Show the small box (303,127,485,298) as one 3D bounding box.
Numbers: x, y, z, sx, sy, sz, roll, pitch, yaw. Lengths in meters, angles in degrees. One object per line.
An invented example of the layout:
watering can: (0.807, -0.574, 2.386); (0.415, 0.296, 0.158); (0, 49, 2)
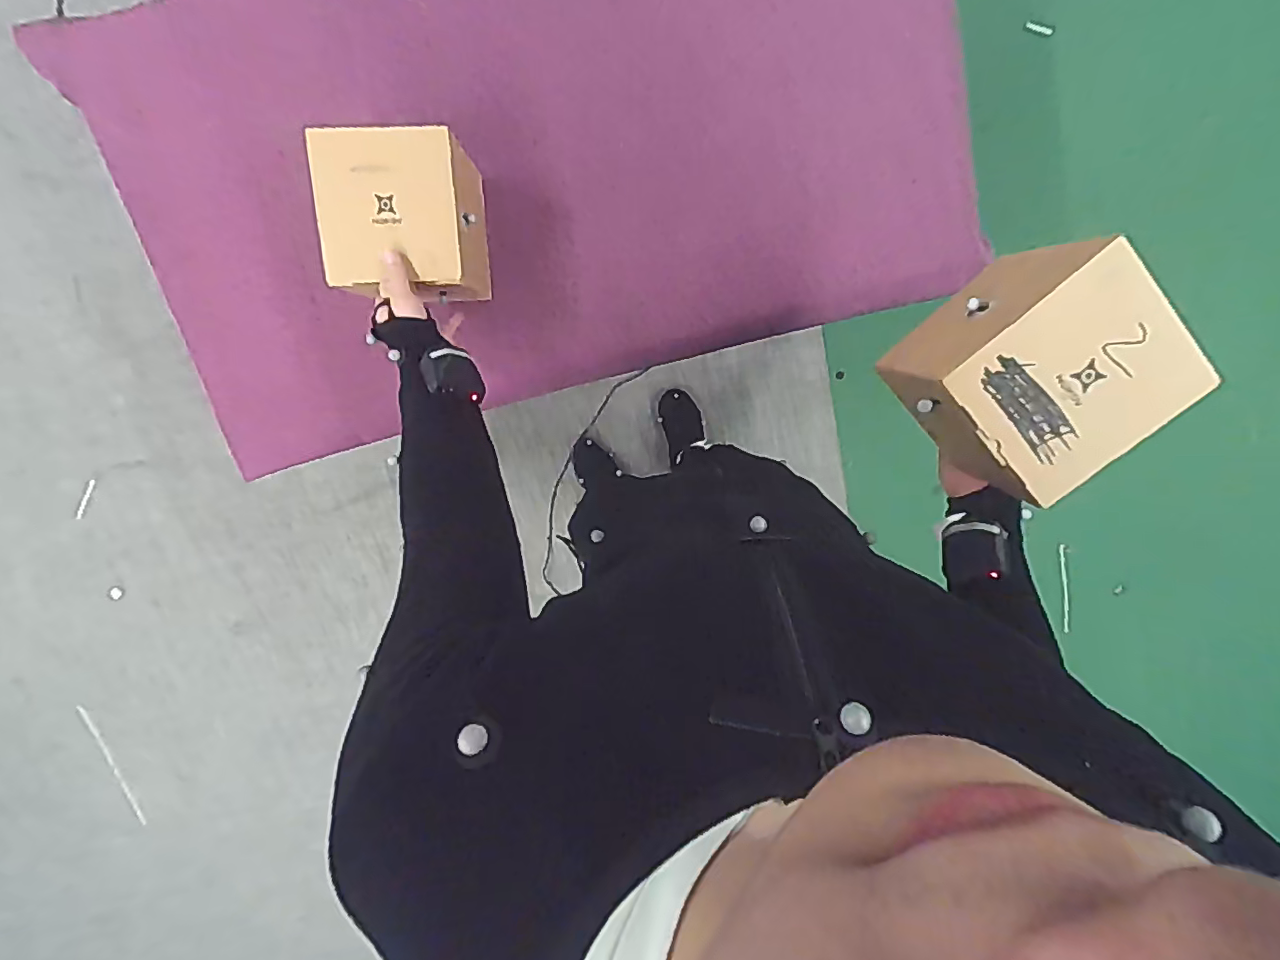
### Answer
small box: (-0.311, -0.341, 0.722); (0.168, 0.176, 0.179); (-2, 102, -3)
